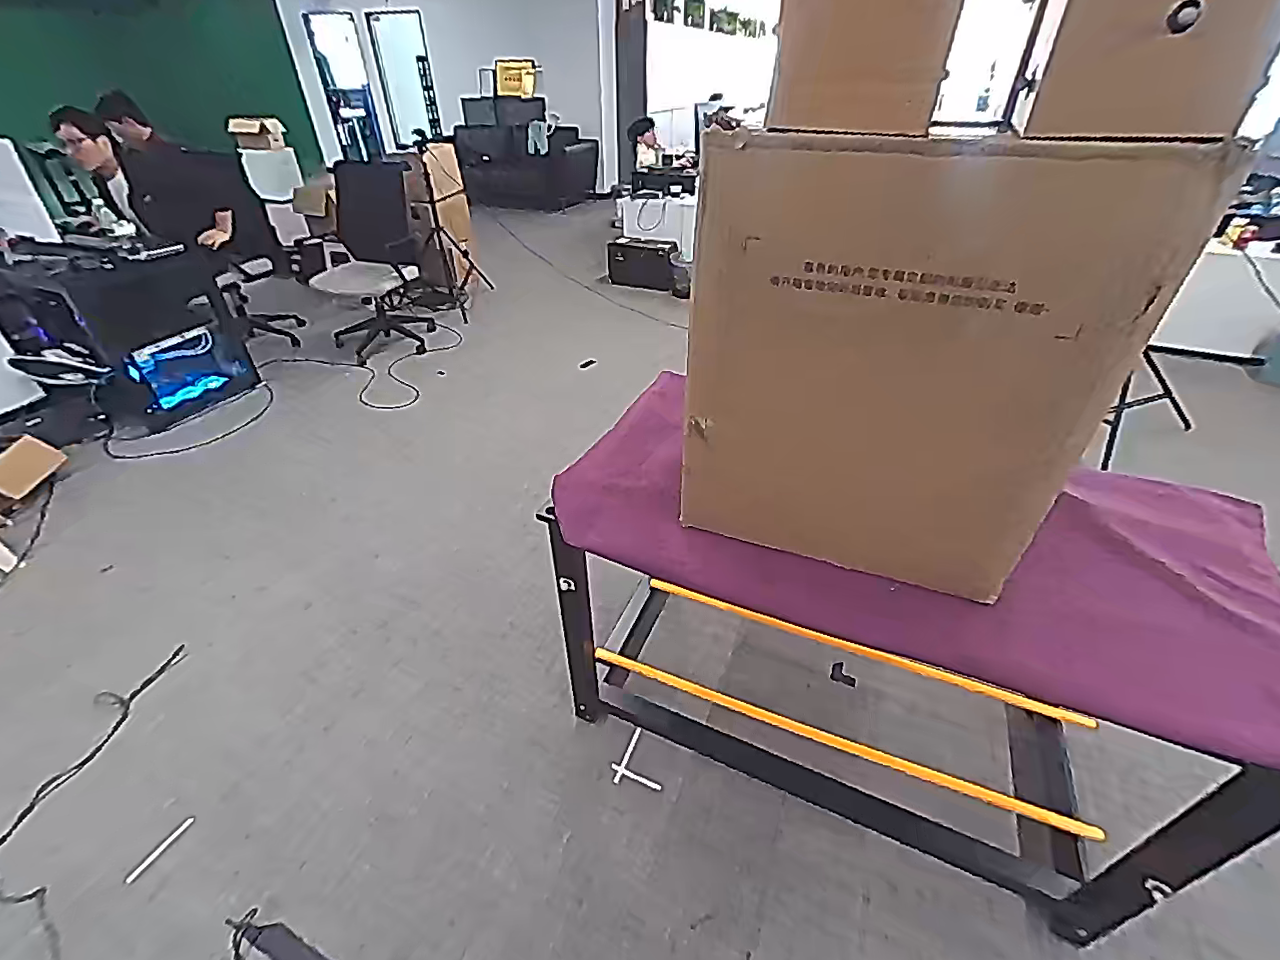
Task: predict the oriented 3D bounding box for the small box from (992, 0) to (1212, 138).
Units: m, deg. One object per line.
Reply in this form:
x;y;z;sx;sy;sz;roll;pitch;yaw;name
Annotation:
0.567;-0.542;0.684;0.168;0.176;0.179;14;39;20;small box
